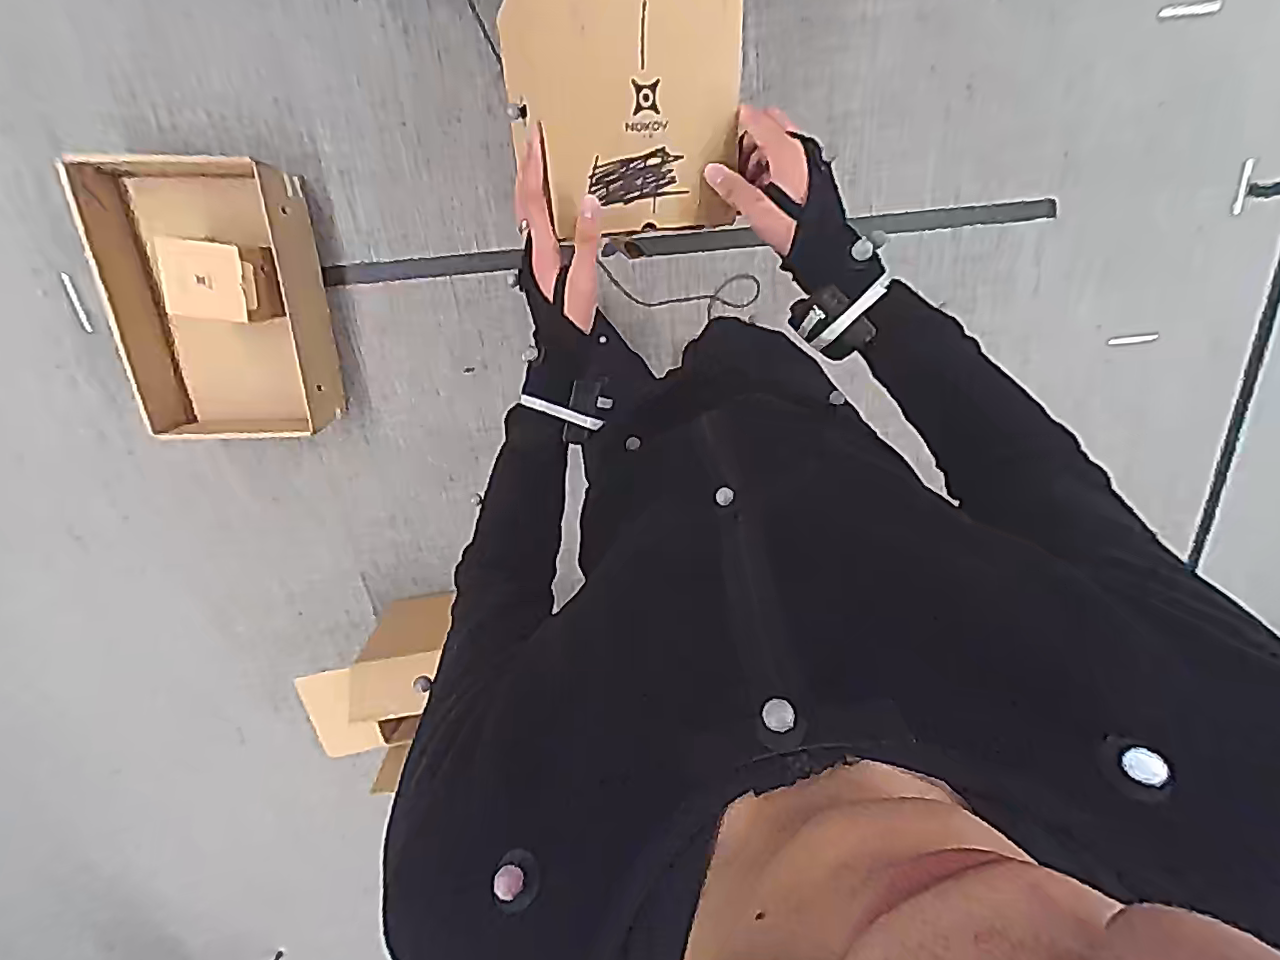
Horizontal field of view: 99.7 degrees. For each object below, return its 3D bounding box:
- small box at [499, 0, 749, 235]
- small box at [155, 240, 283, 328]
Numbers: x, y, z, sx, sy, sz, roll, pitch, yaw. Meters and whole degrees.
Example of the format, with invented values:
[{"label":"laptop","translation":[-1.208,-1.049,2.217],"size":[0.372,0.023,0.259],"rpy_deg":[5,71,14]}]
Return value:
[{"label":"small box","translation":[-0.021,-0.322,0.472],"size":[0.168,0.176,0.179],"rpy_deg":[-12,121,-15]},{"label":"small box","translation":[-0.968,-0.460,1.266],"size":[0.179,0.176,0.168],"rpy_deg":[6,111,-7]}]
